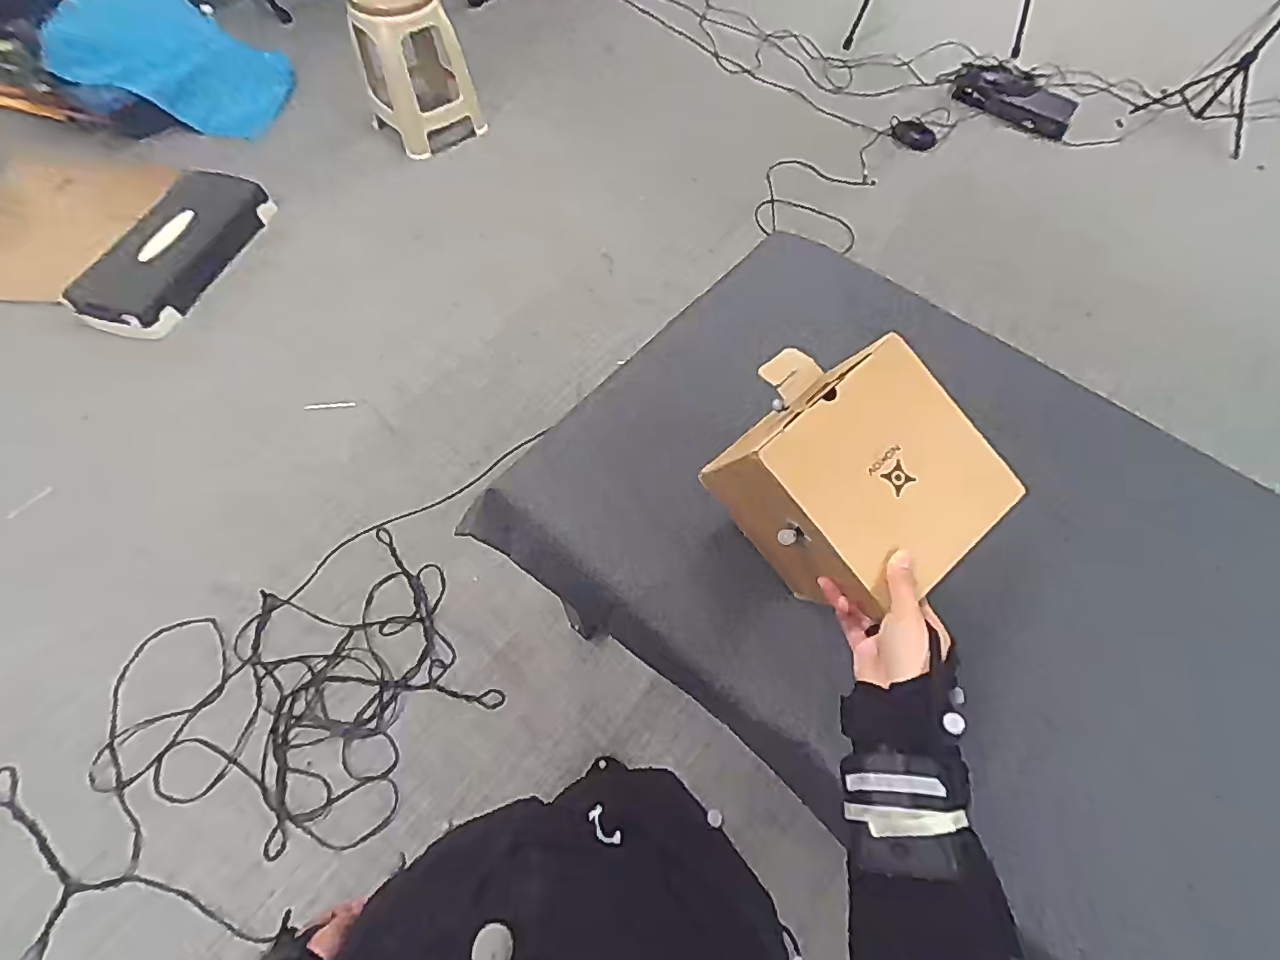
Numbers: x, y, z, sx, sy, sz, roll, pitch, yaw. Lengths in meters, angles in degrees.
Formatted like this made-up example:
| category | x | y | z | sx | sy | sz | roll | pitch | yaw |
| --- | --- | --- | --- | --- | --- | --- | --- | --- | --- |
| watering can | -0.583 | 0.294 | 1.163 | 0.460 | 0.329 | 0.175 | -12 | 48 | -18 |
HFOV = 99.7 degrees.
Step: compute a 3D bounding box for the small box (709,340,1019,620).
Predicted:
| category | x | y | z | sx | sy | sz | roll | pitch | yaw |
| --- | --- | --- | --- | --- | --- | --- | --- | --- | --- |
| small box | 0.195 | 0.005 | 0.519 | 0.168 | 0.176 | 0.179 | -39 | 89 | -11 |
